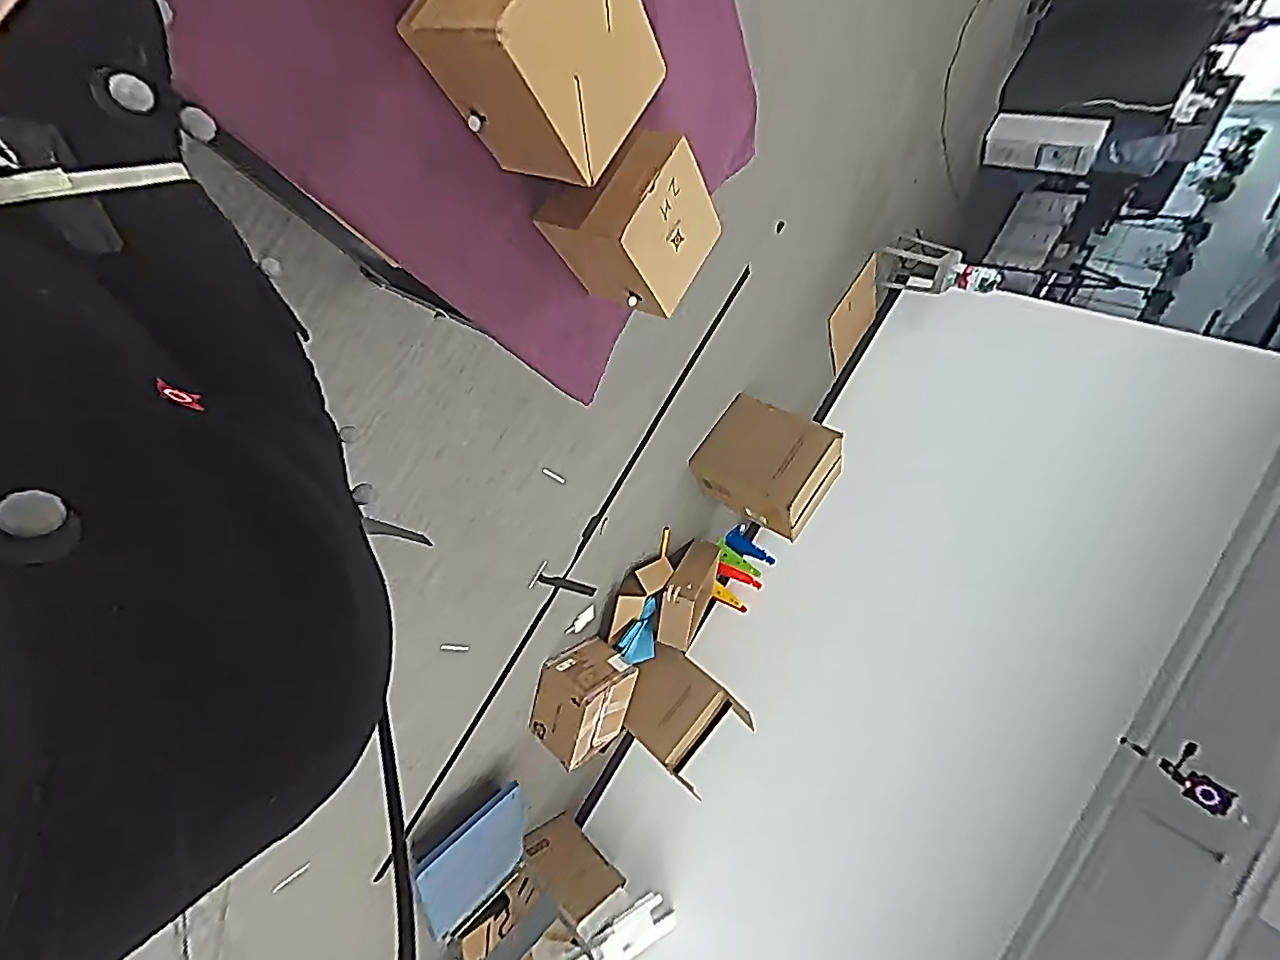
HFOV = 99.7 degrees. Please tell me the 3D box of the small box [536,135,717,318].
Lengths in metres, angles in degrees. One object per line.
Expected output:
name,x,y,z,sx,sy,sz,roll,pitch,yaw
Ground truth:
small box,-0.016,-0.373,0.797,0.168,0.176,0.179,-60,149,-5
